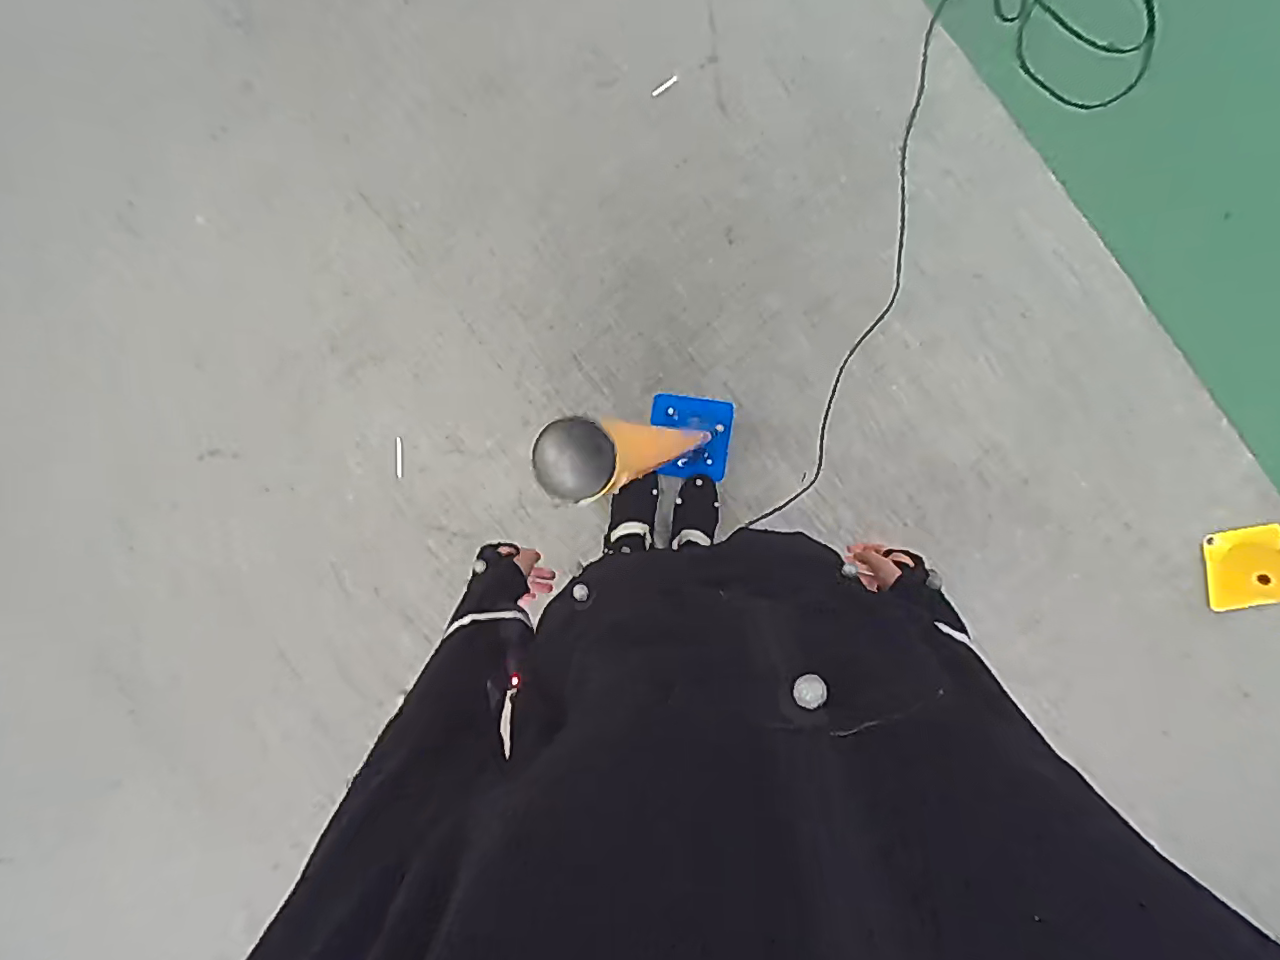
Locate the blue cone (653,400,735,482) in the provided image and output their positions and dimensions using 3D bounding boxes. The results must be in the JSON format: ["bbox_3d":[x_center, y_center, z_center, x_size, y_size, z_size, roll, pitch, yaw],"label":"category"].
[{"bbox_3d":[0.124,-0.082,1.132,0.193,0.380,0.192,6,94,1],"label":"blue cone"}]
